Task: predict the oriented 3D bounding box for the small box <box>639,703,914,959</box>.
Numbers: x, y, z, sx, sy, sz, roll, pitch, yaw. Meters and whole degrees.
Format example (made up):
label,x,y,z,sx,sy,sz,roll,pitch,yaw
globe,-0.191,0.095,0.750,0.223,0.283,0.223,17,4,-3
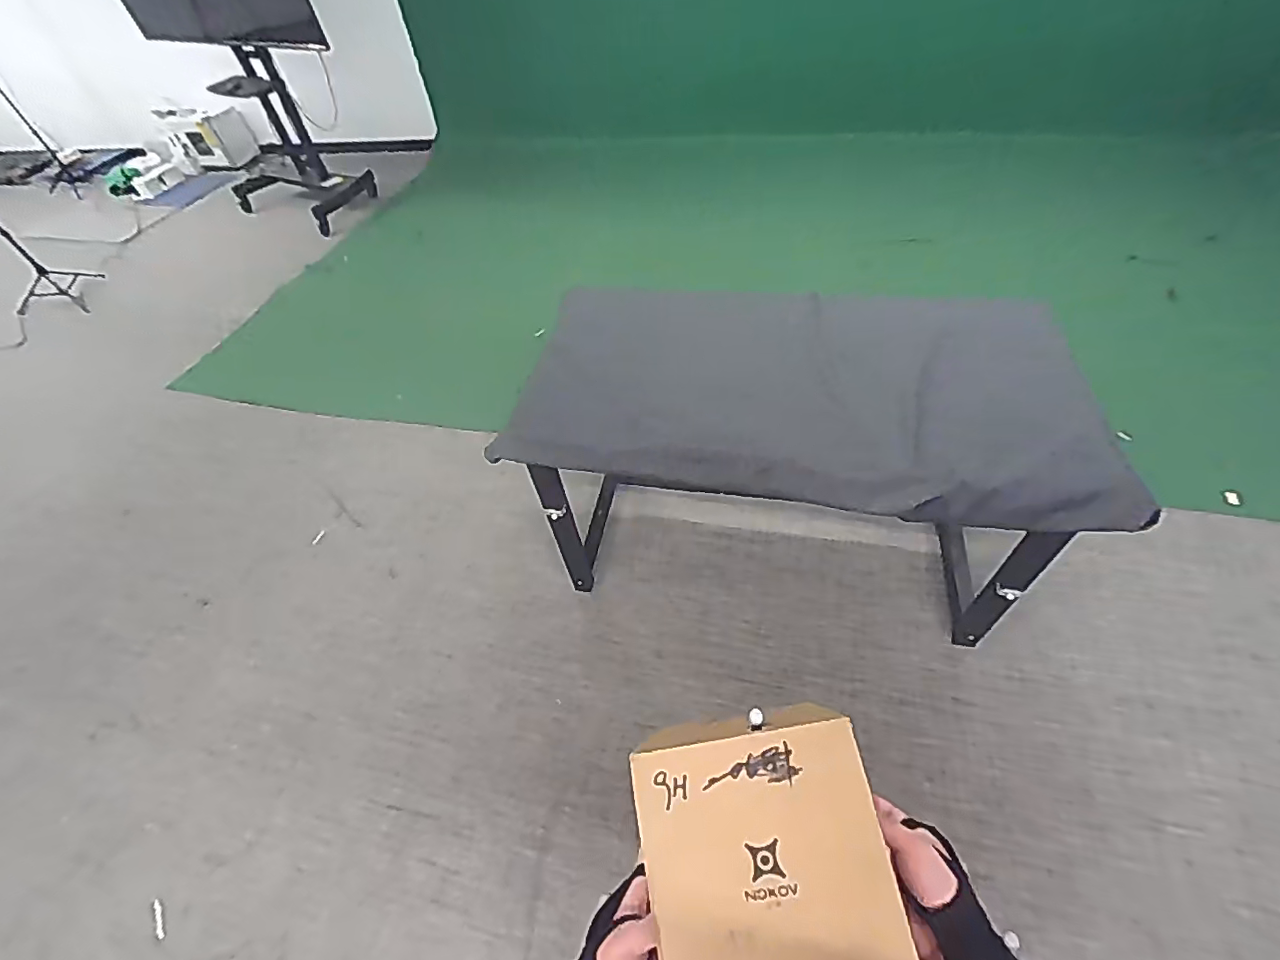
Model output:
label,x,y,z,sx,sy,sz,roll,pitch,yaw
small box,0.103,0.299,0.453,0.168,0.176,0.179,-12,71,4
